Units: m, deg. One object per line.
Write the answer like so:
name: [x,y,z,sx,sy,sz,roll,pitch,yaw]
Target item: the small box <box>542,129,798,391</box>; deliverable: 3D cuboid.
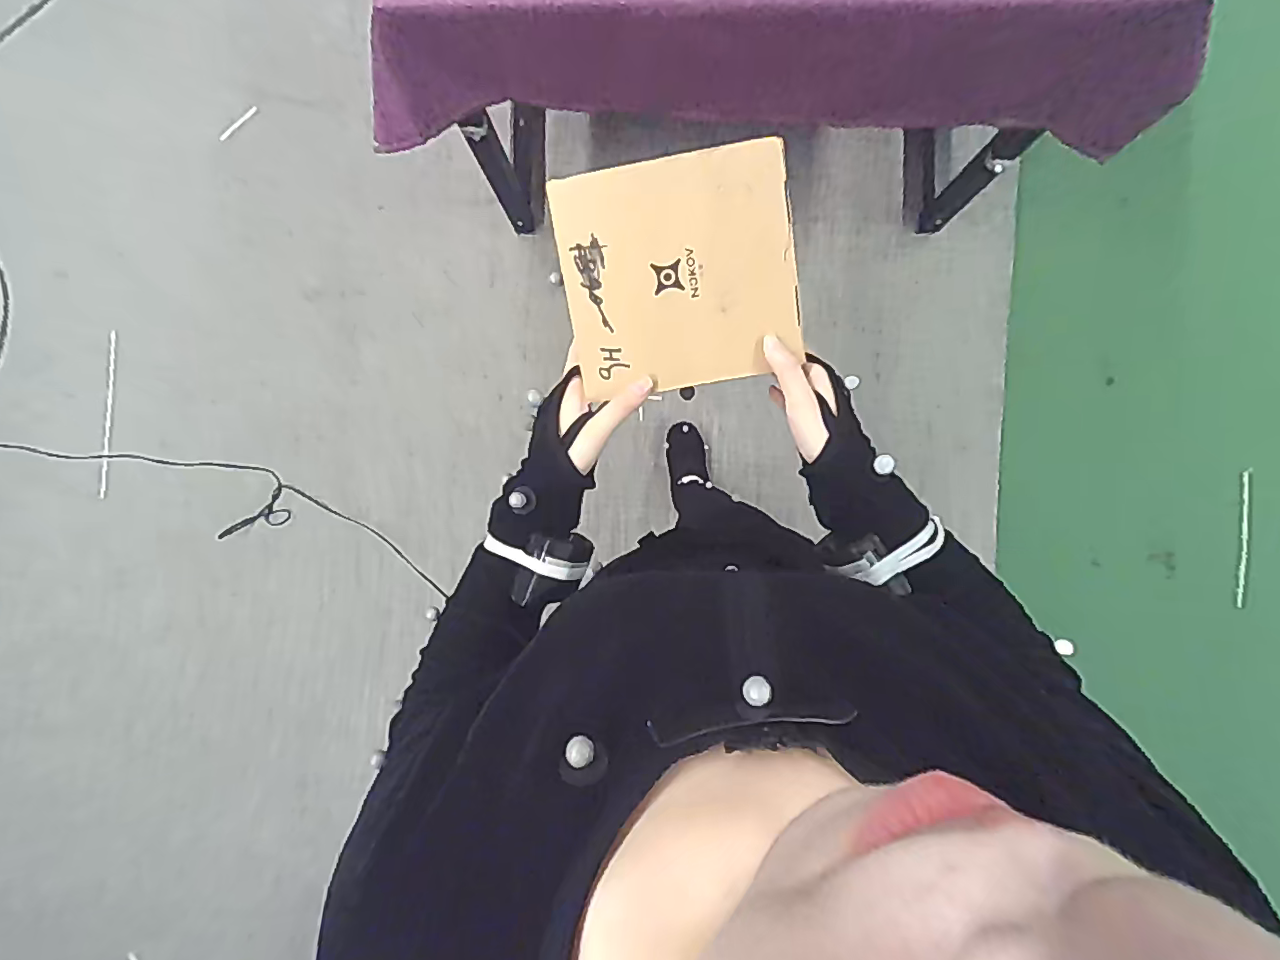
small box: [0.025,-0.176,0.483,0.179,0.176,0.168,-9,100,3]
